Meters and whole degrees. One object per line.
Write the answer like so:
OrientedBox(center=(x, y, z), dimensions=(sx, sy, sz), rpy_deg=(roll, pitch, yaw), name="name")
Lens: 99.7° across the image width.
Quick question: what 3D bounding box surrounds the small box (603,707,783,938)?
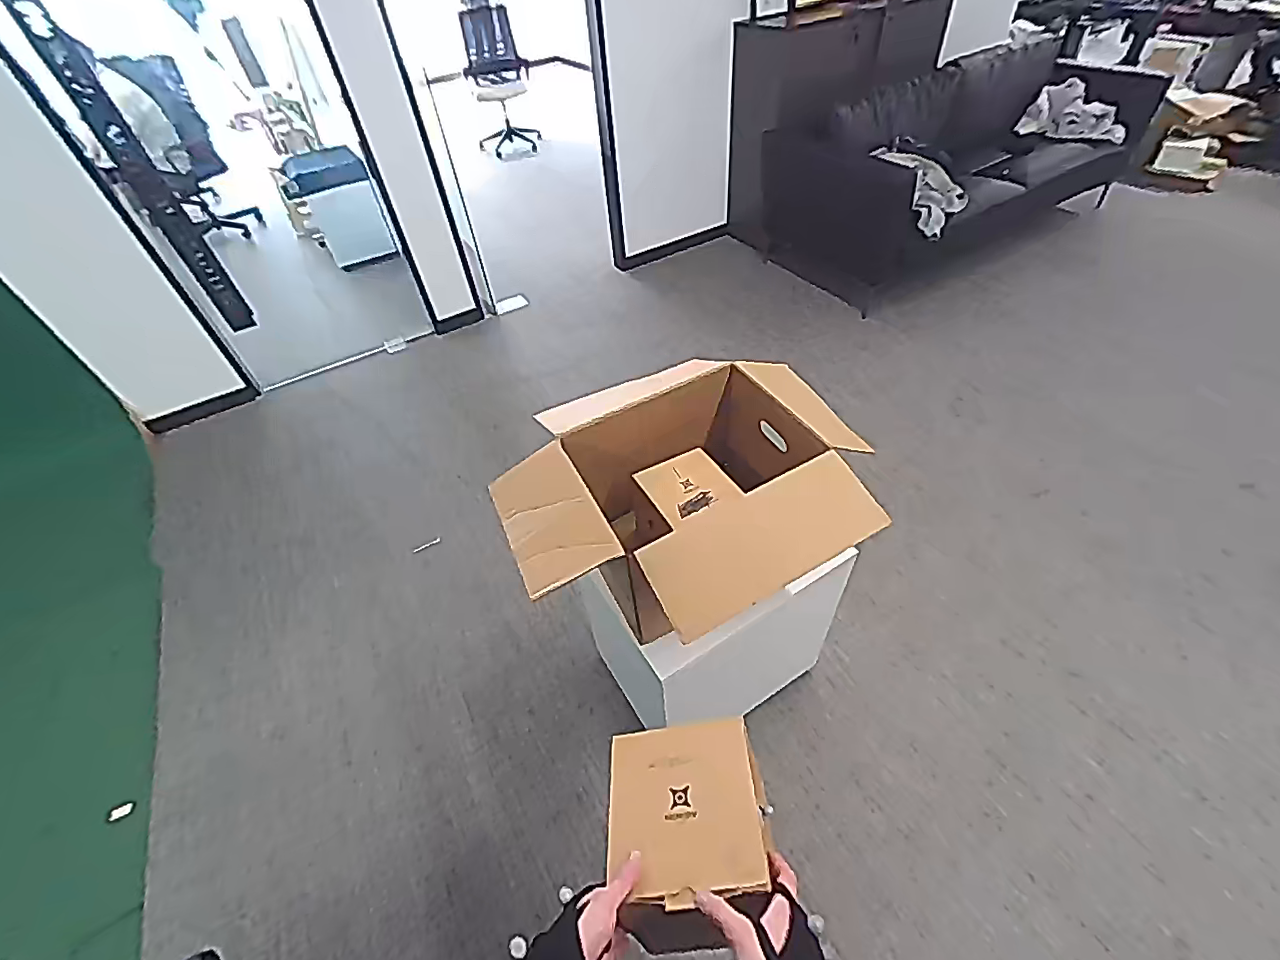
OrientedBox(center=(0.062, 0.402, 0.633), dimensions=(0.168, 0.176, 0.179), rpy_deg=(-13, 33, 8), name="small box")
